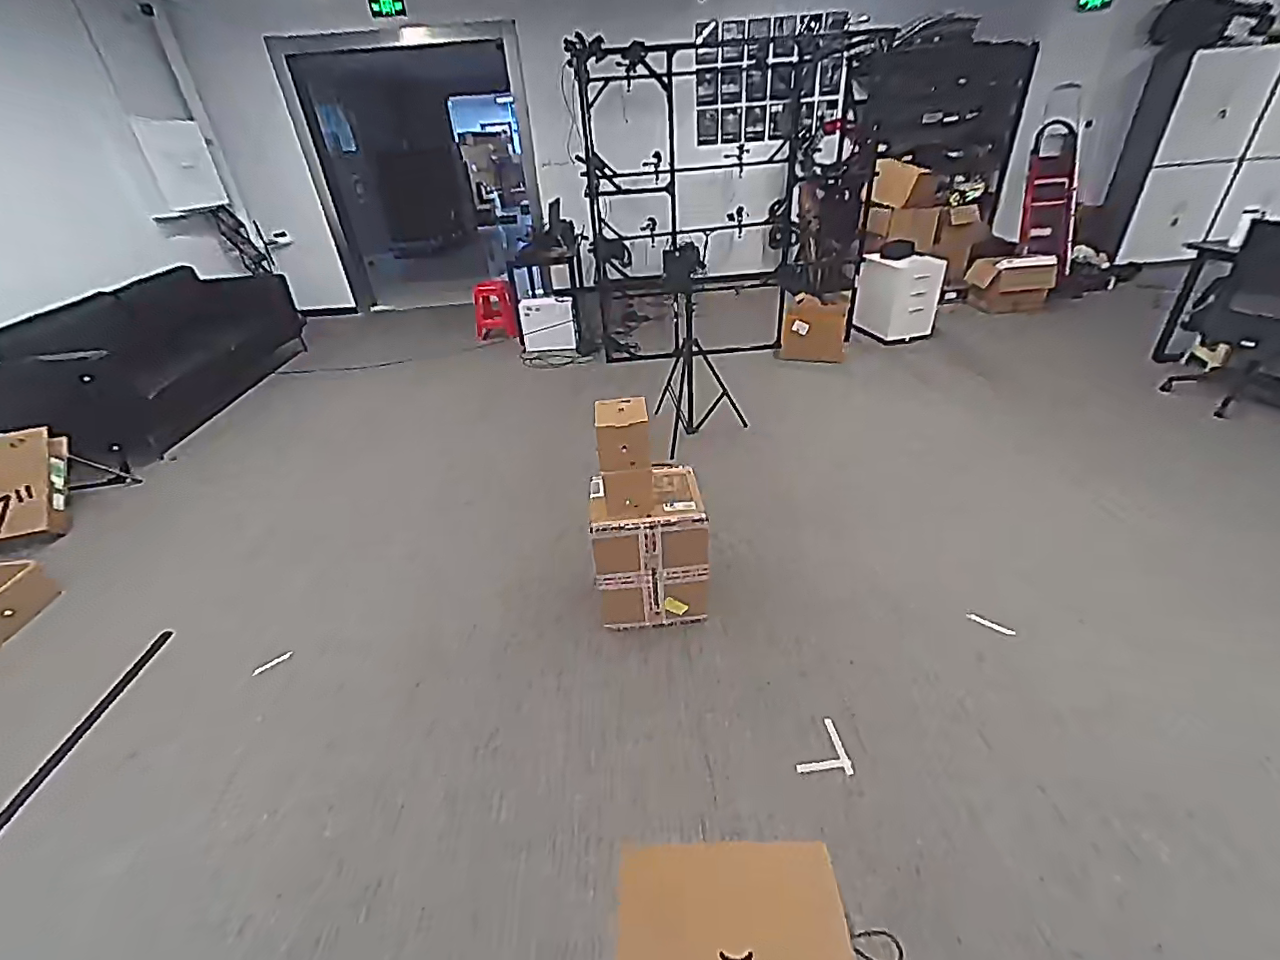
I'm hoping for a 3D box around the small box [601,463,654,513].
[{"bbox_3d":[-0.044,-0.008,1.837,0.168,0.176,0.179,-7,36,-2],"label":"small box"}]

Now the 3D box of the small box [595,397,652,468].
[{"bbox_3d":[-0.053,-0.150,1.754,0.168,0.176,0.179,-5,36,0],"label":"small box"}]
